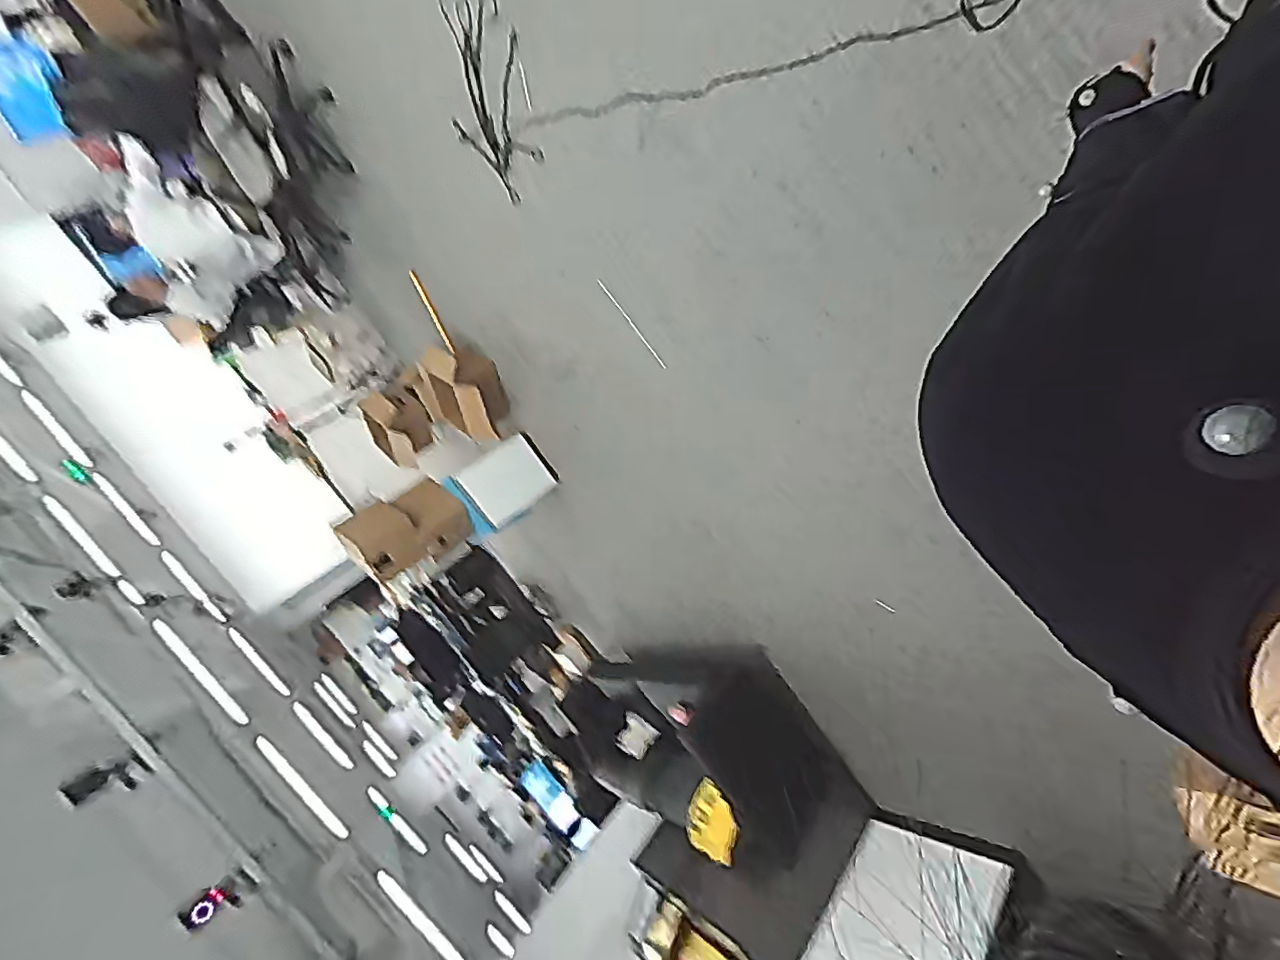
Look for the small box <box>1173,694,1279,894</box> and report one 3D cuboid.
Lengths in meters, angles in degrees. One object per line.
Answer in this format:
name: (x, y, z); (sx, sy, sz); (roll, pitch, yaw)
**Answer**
small box: (0.838, 0.412, 0.701); (0.168, 0.176, 0.179); (-9, 116, 58)
